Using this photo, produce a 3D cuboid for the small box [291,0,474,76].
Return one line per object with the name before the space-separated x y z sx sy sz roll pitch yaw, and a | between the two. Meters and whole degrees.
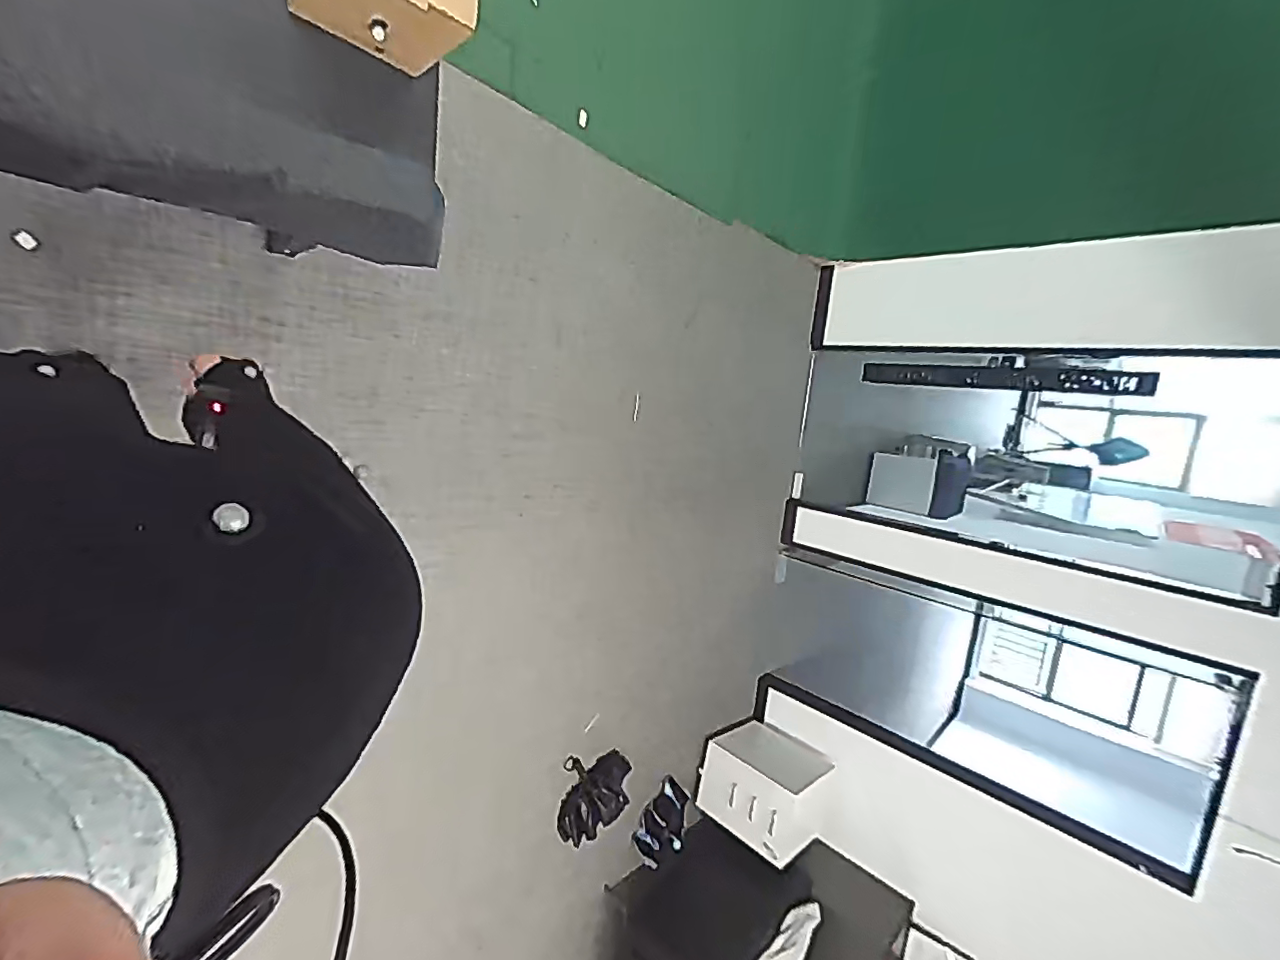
small box | -0.311 -0.635 0.647 0.168 0.176 0.179 -2 102 -47
